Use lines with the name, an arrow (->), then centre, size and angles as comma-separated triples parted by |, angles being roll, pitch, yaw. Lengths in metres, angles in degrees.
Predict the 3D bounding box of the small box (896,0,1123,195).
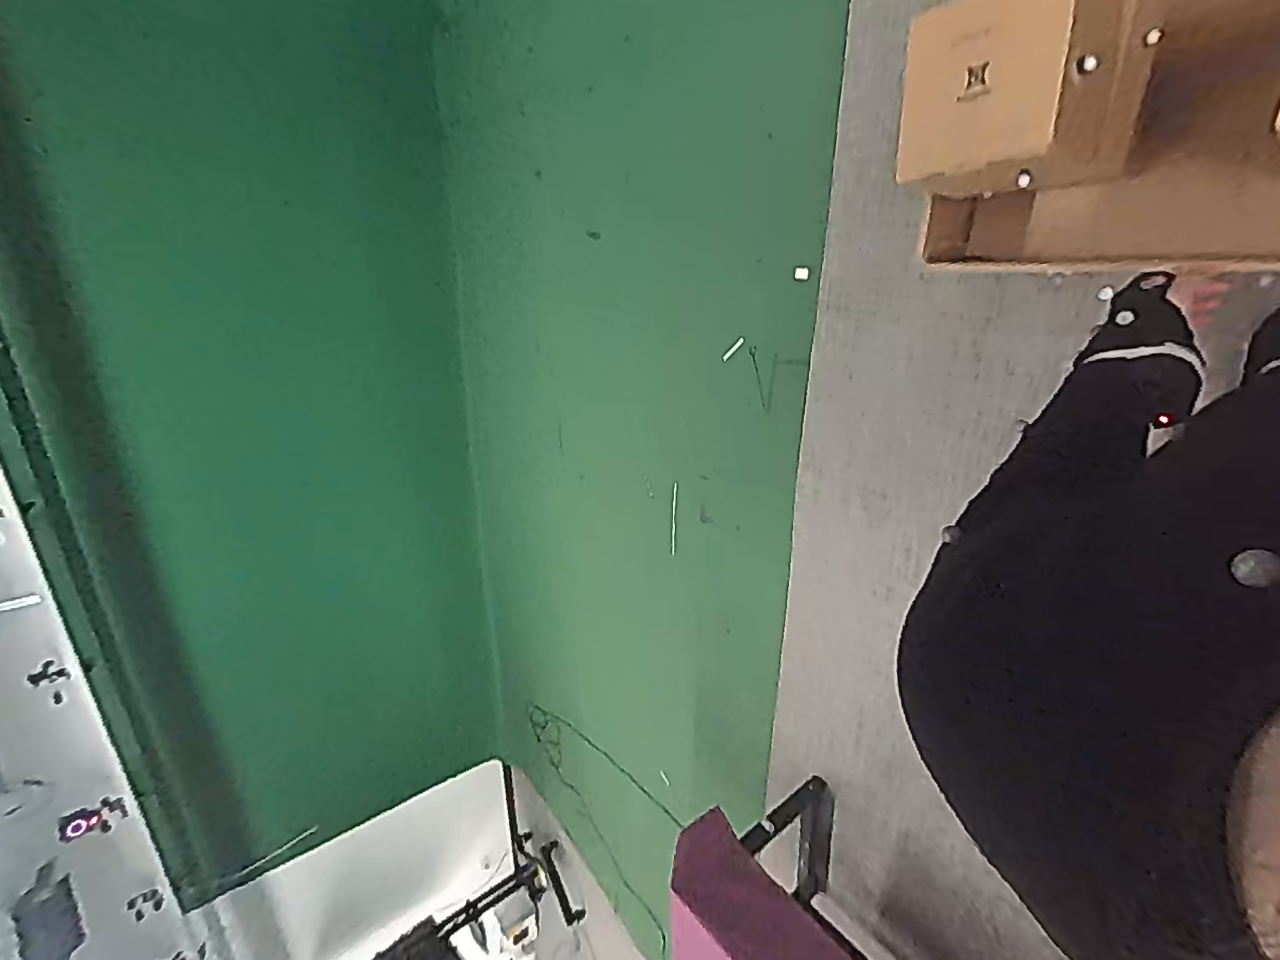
small box -> 0.434, -0.449, 0.641 | 0.168, 0.176, 0.179 | 20, 117, 49
